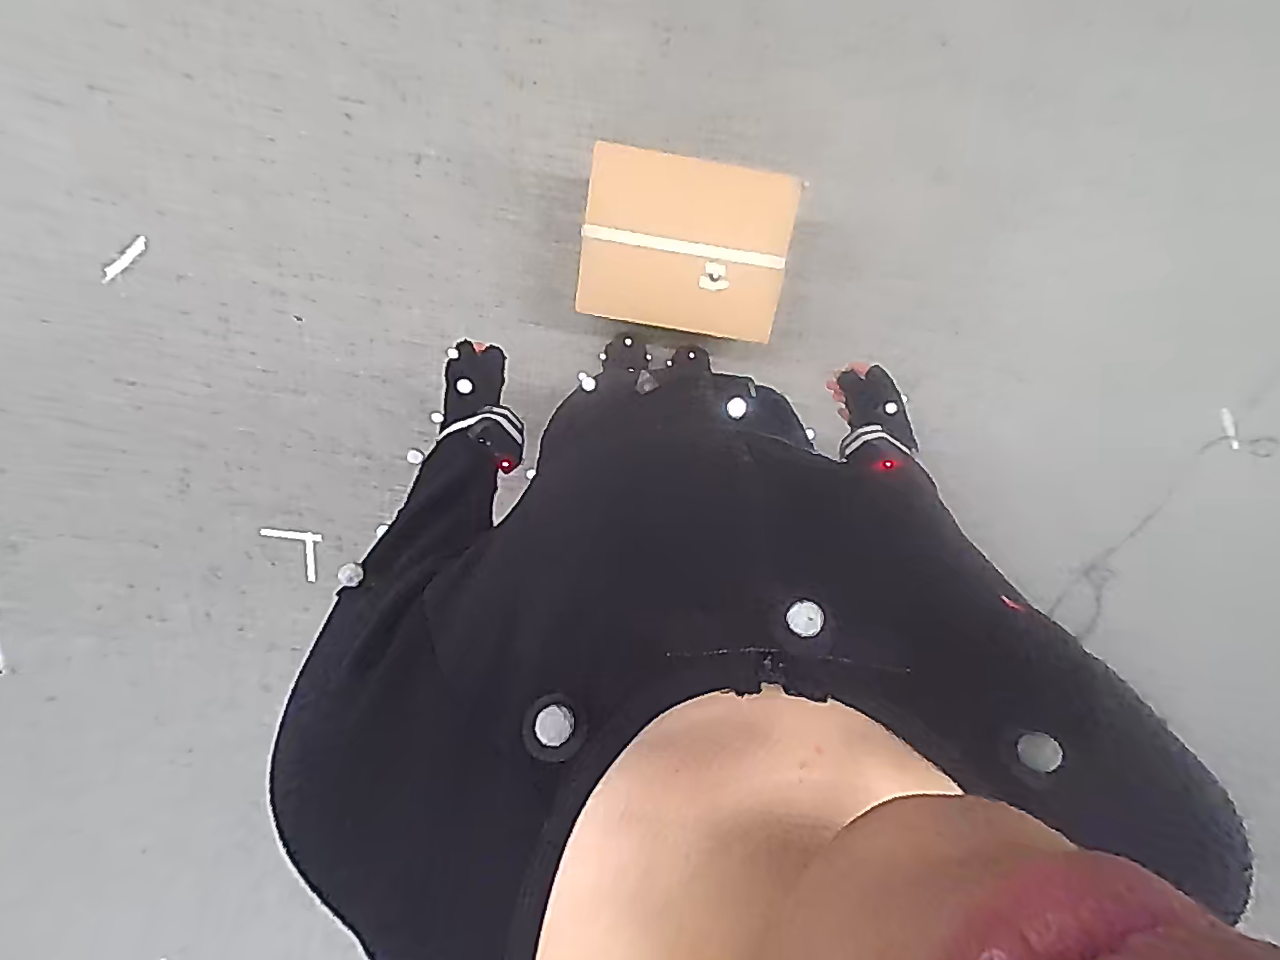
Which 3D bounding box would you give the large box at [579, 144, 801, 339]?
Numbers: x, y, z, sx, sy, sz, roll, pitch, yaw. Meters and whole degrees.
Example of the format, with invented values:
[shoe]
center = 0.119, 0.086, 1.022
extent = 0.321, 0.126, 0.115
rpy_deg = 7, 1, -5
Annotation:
[large box]
center = 0.088, -0.503, 1.205
extent = 0.408, 0.320, 0.320
rpy_deg = 8, 107, -3
